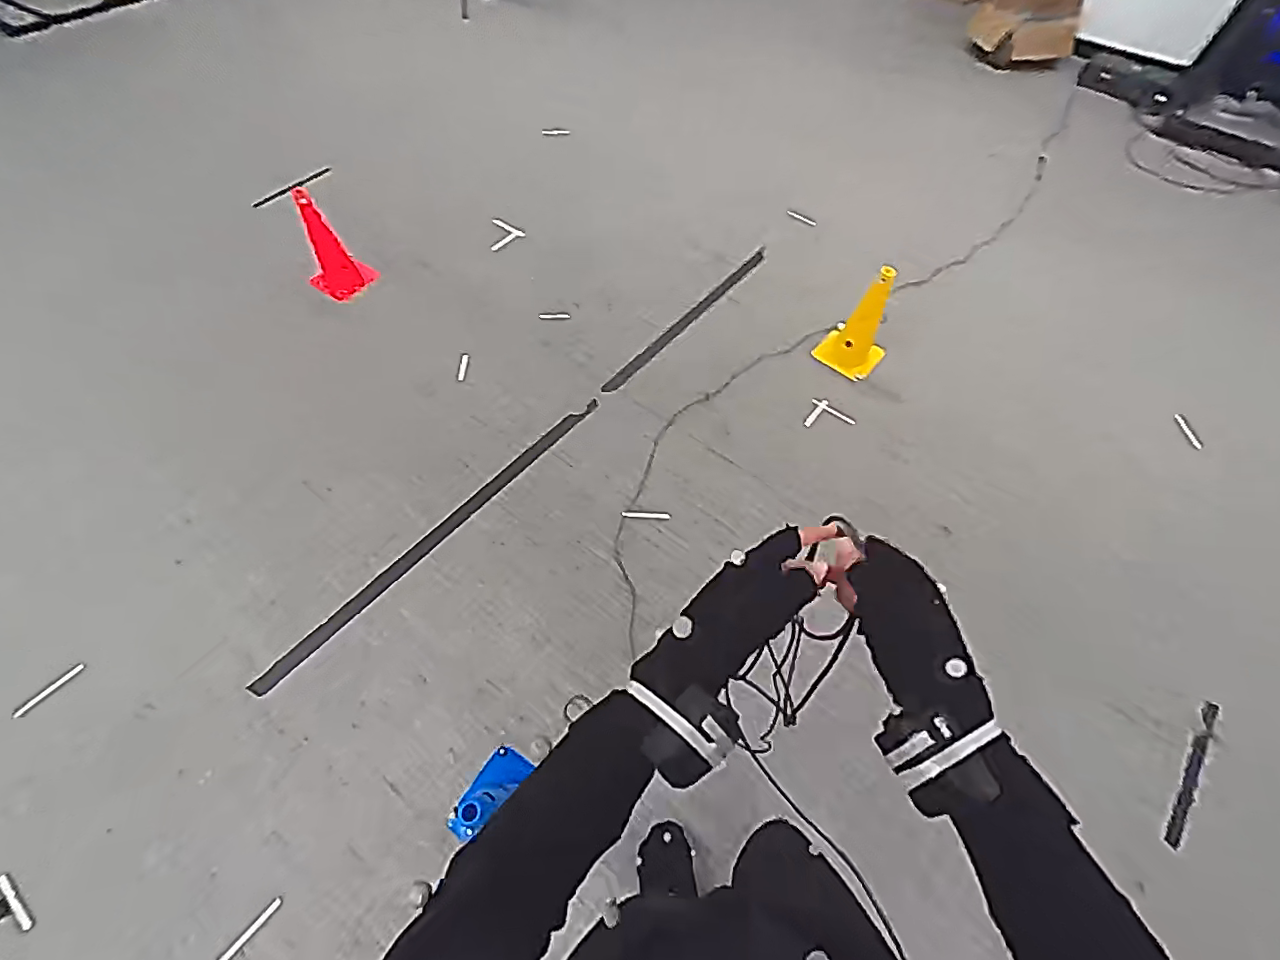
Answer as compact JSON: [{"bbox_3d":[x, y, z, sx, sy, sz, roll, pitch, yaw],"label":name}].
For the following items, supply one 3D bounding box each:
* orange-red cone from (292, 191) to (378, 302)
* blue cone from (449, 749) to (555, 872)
[{"bbox_3d":[-1.151,-0.868,1.965,0.198,0.360,0.199,31,65,17],"label":"orange-red cone"},{"bbox_3d":[-0.301,0.651,1.069,0.192,0.380,0.193,31,63,16],"label":"blue cone"}]
